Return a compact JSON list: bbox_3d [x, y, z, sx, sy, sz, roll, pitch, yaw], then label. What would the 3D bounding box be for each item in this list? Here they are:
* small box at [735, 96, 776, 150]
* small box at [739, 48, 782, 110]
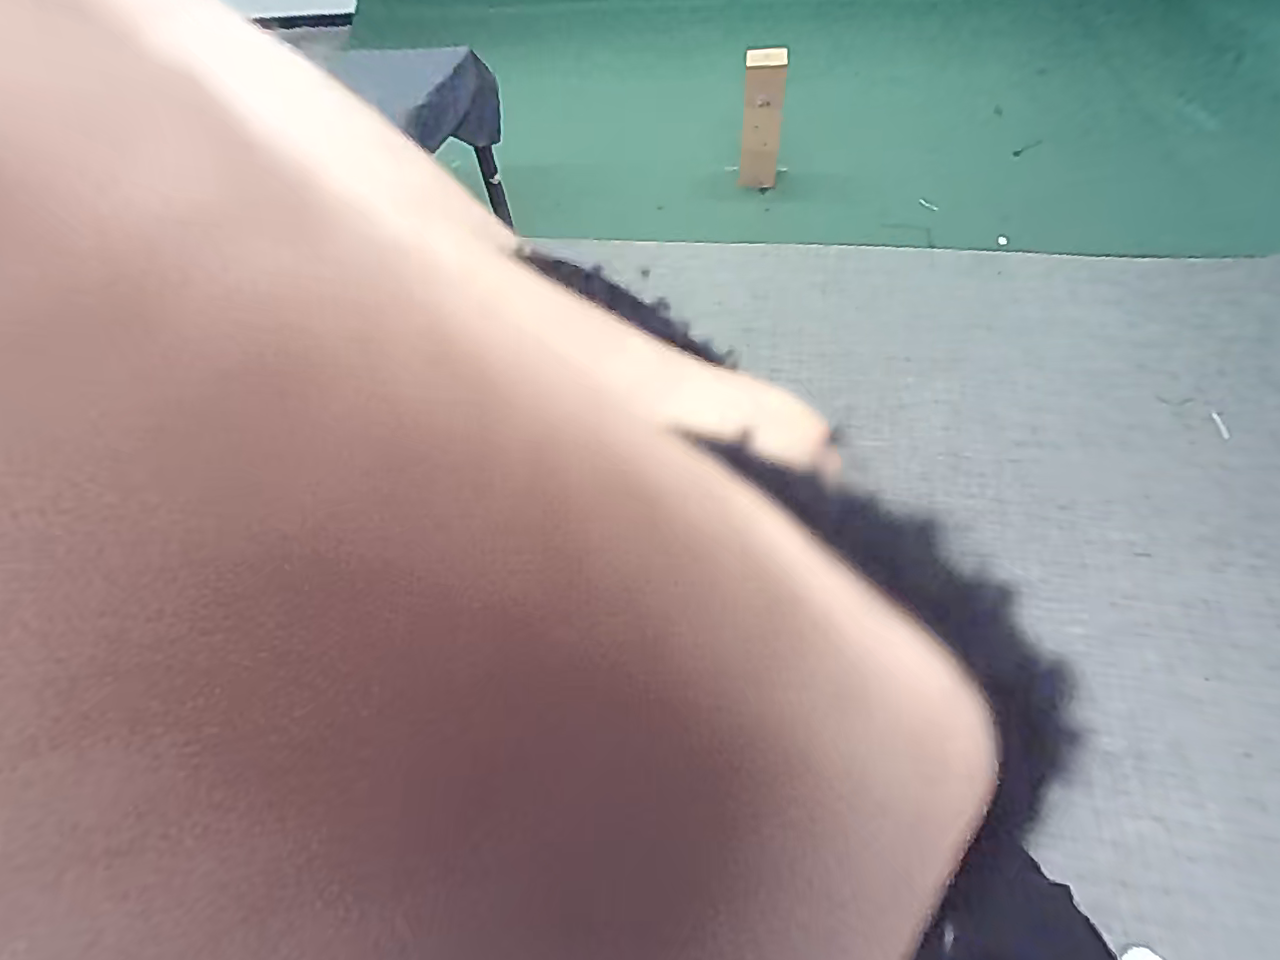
[{"bbox_3d":[0.517,-1.602,2.423,0.168,0.176,0.179,3,55,7],"label":"small box"},{"bbox_3d":[0.508,-1.696,2.291,0.168,0.176,0.179,3,56,9],"label":"small box"}]
